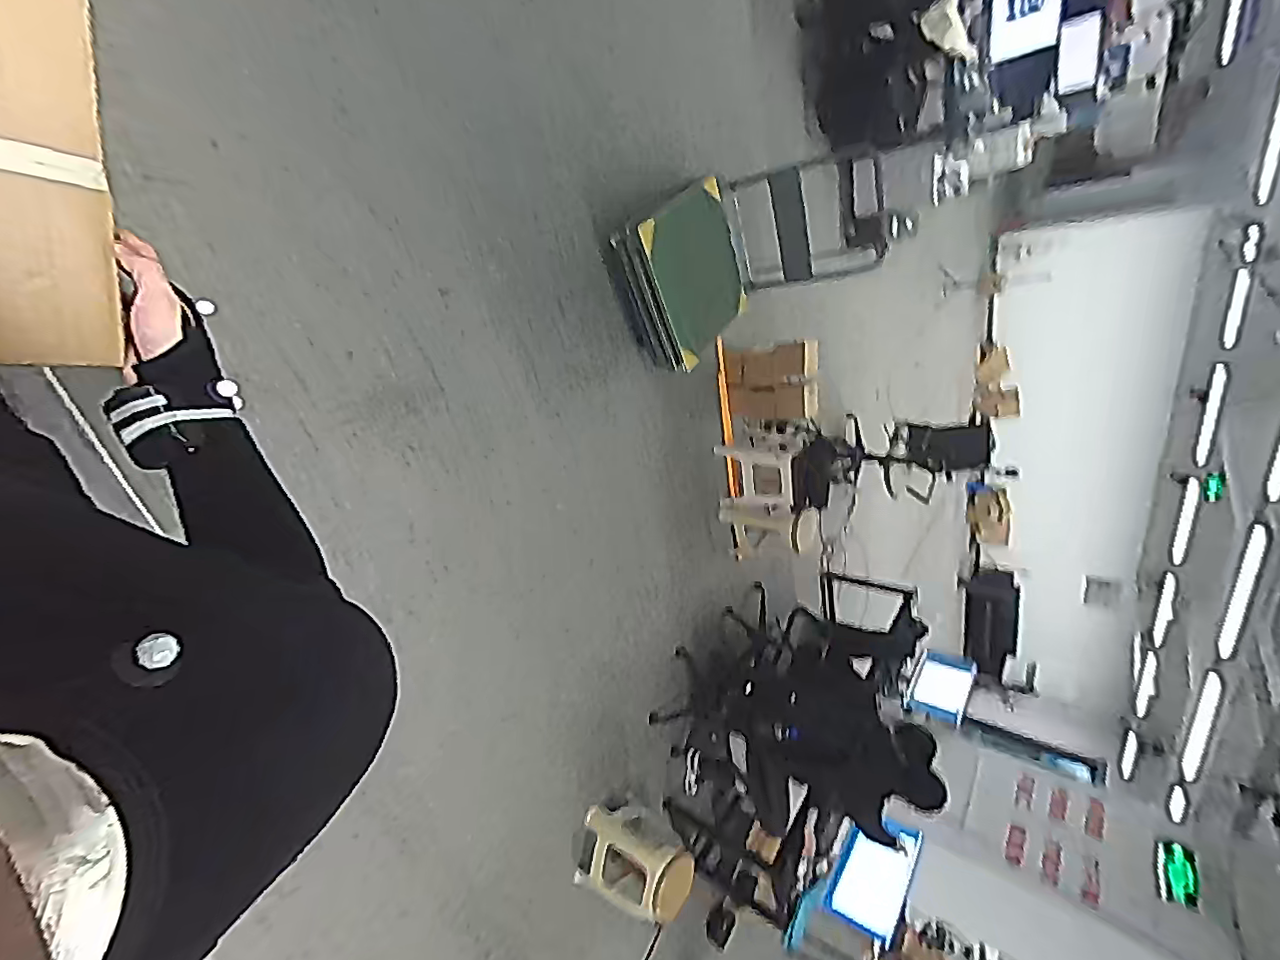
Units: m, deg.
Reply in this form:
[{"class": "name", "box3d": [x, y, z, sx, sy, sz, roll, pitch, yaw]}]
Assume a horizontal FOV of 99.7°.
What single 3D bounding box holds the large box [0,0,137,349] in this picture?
[{"class": "large box", "box3d": [-0.678, -0.277, 0.376, 0.408, 0.320, 0.320, -15, 123, -51]}]
